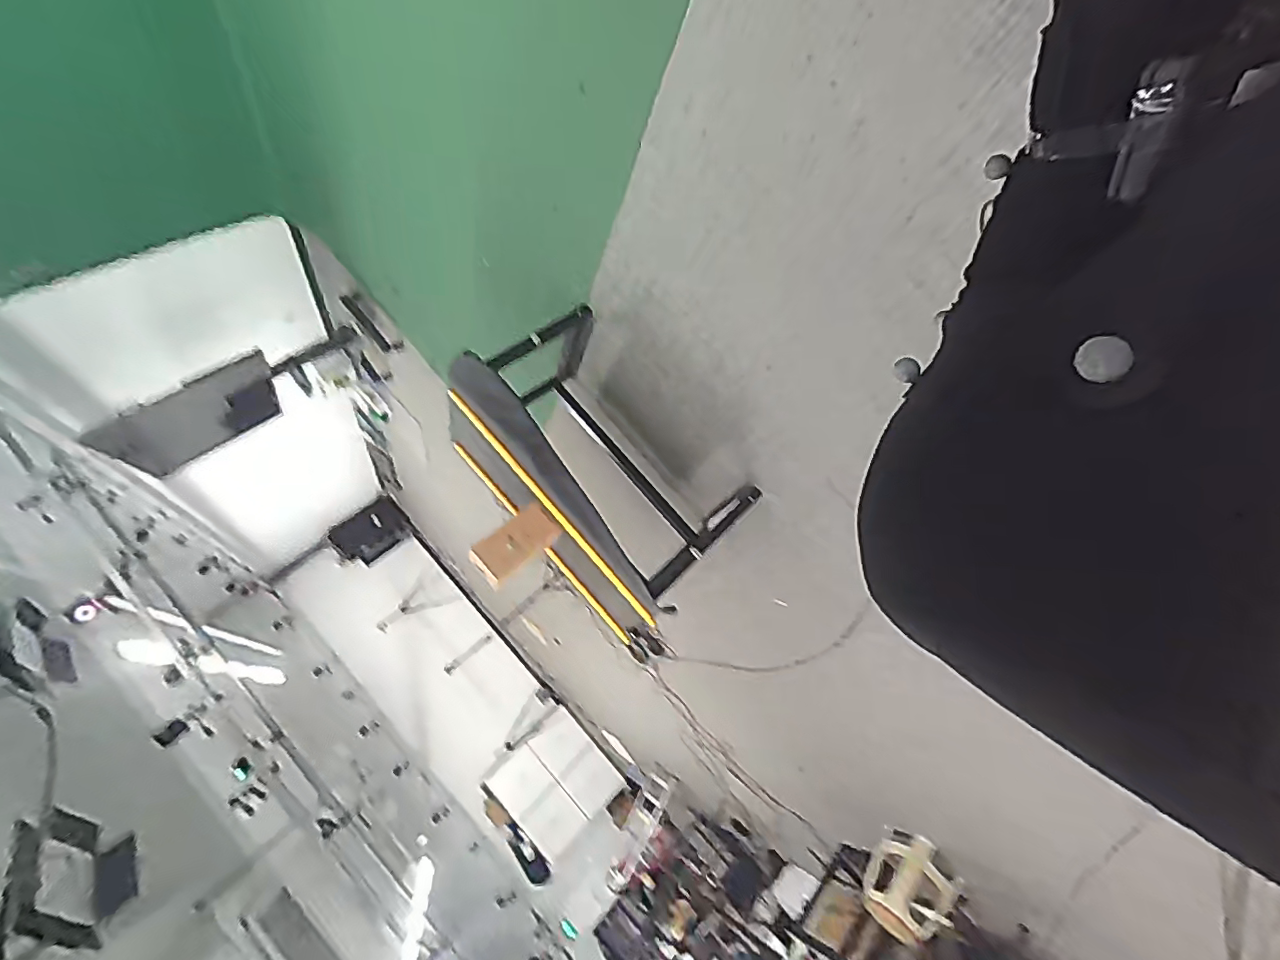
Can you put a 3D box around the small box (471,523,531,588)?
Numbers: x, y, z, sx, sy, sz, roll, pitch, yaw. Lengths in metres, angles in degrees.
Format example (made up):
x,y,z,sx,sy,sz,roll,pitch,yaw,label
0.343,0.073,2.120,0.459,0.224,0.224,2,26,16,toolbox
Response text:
x,y,z,sx,sy,sz,roll,pitch,yaw,label
-0.551,0.298,2.143,0.168,0.176,0.179,48,152,5,small box

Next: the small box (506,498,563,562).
x,y,z,sx,sy,sz,roll,pitch,yaw,label
-0.436,0.205,2.216,0.168,0.176,0.179,46,153,6,small box
